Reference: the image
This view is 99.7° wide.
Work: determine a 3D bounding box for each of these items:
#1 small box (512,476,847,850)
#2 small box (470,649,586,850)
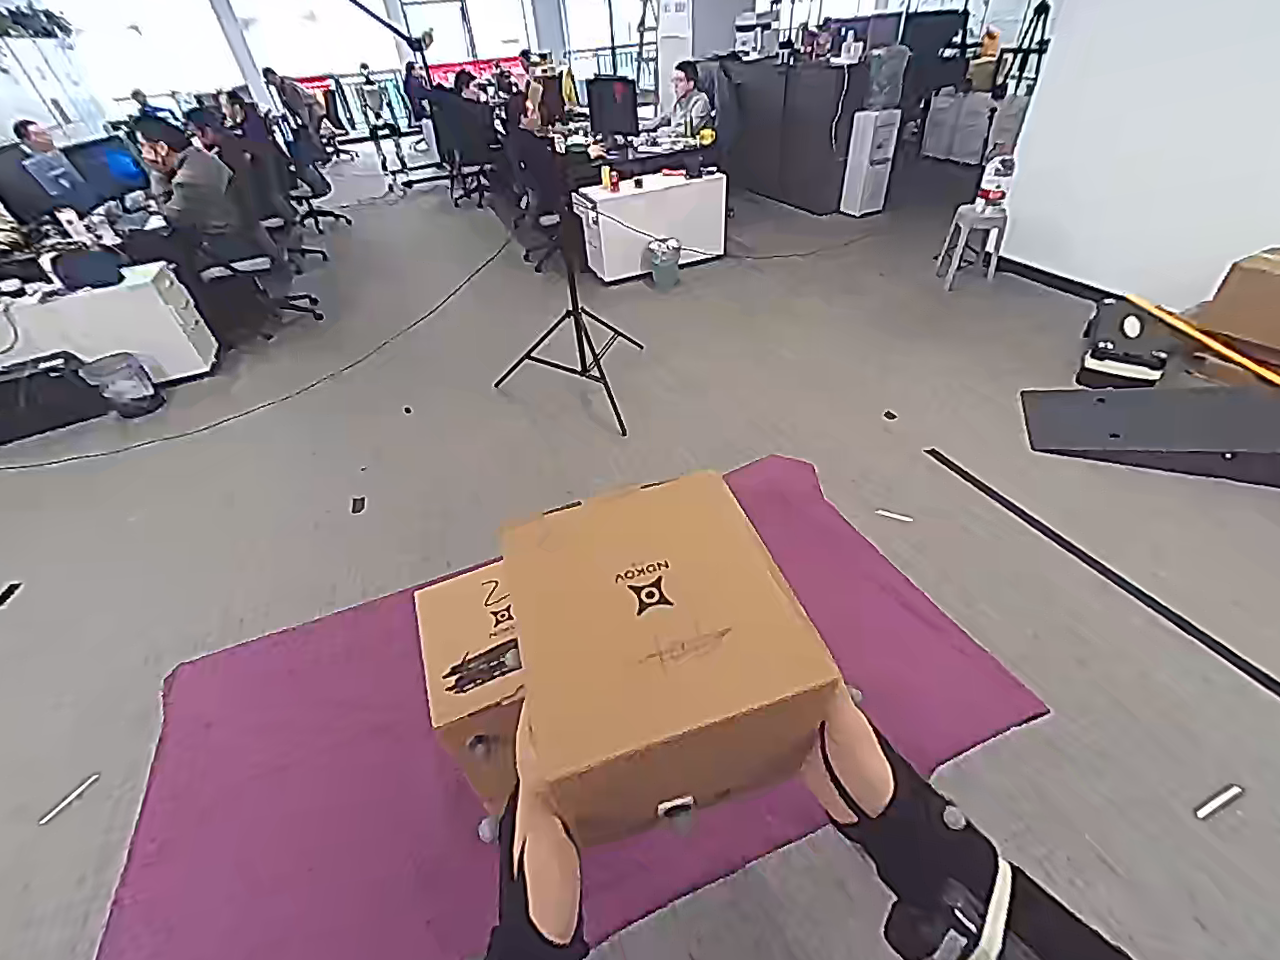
[{"bbox_3d":[0.014,0.129,0.392,0.168,0.176,0.179,-15,47,-10],"label":"small box"},{"bbox_3d":[-0.112,0.338,0.710,0.168,0.176,0.179,-17,41,-13],"label":"small box"}]
